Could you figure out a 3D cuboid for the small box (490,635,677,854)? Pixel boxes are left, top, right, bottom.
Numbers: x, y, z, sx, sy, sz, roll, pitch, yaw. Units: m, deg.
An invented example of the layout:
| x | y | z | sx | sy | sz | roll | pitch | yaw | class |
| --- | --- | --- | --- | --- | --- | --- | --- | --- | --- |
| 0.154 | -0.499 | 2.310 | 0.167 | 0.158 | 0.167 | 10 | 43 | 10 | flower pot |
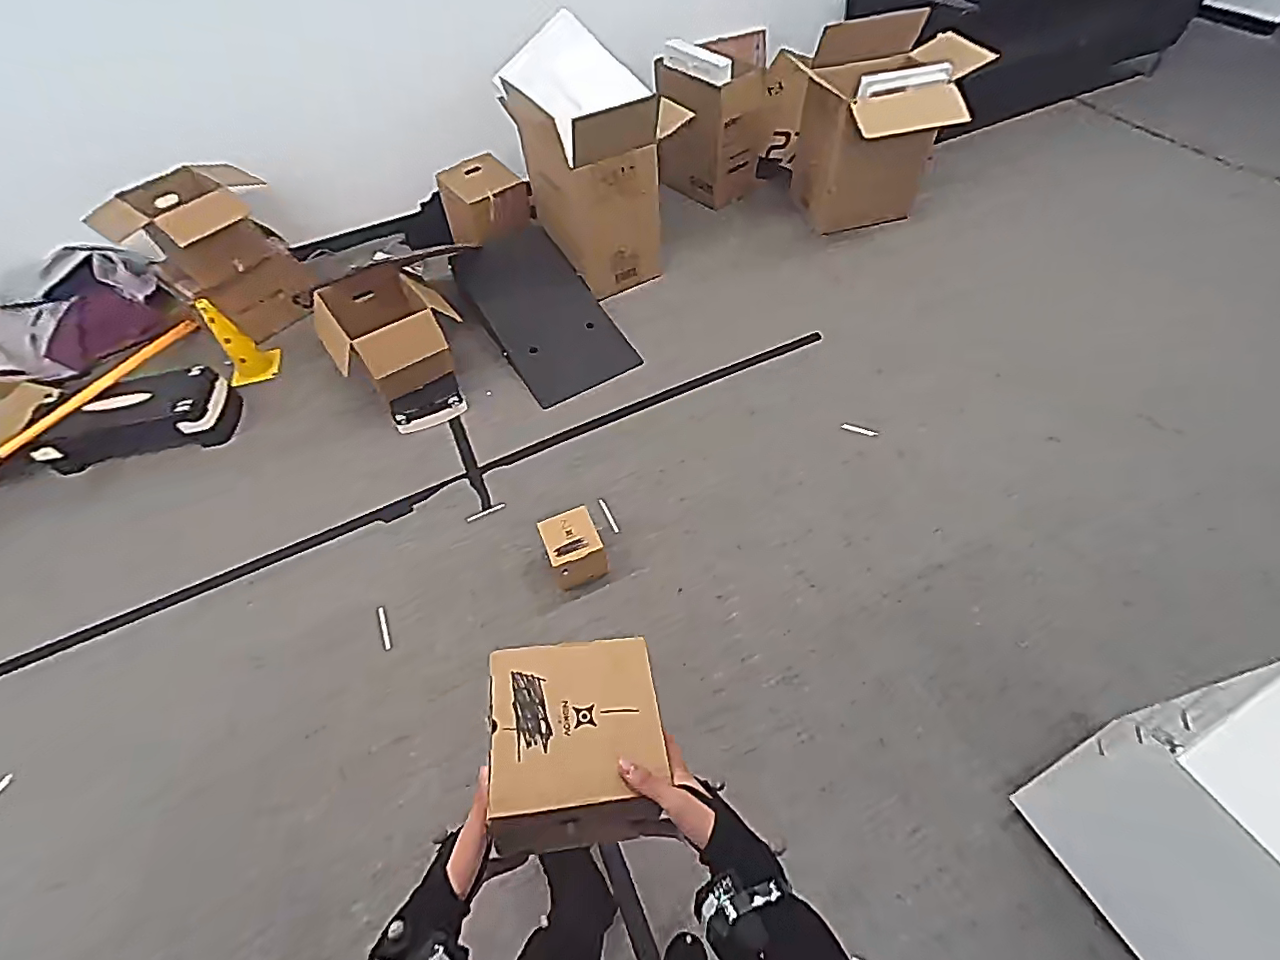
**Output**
| x | y | z | sx | sy | sz | roll | pitch | yaw | class |
| --- | --- | --- | --- | --- | --- | --- | --- | --- | --- |
| -0.069 | 0.295 | 0.604 | 0.179 | 0.176 | 0.168 | -1 | 45 | -12 | small box |
